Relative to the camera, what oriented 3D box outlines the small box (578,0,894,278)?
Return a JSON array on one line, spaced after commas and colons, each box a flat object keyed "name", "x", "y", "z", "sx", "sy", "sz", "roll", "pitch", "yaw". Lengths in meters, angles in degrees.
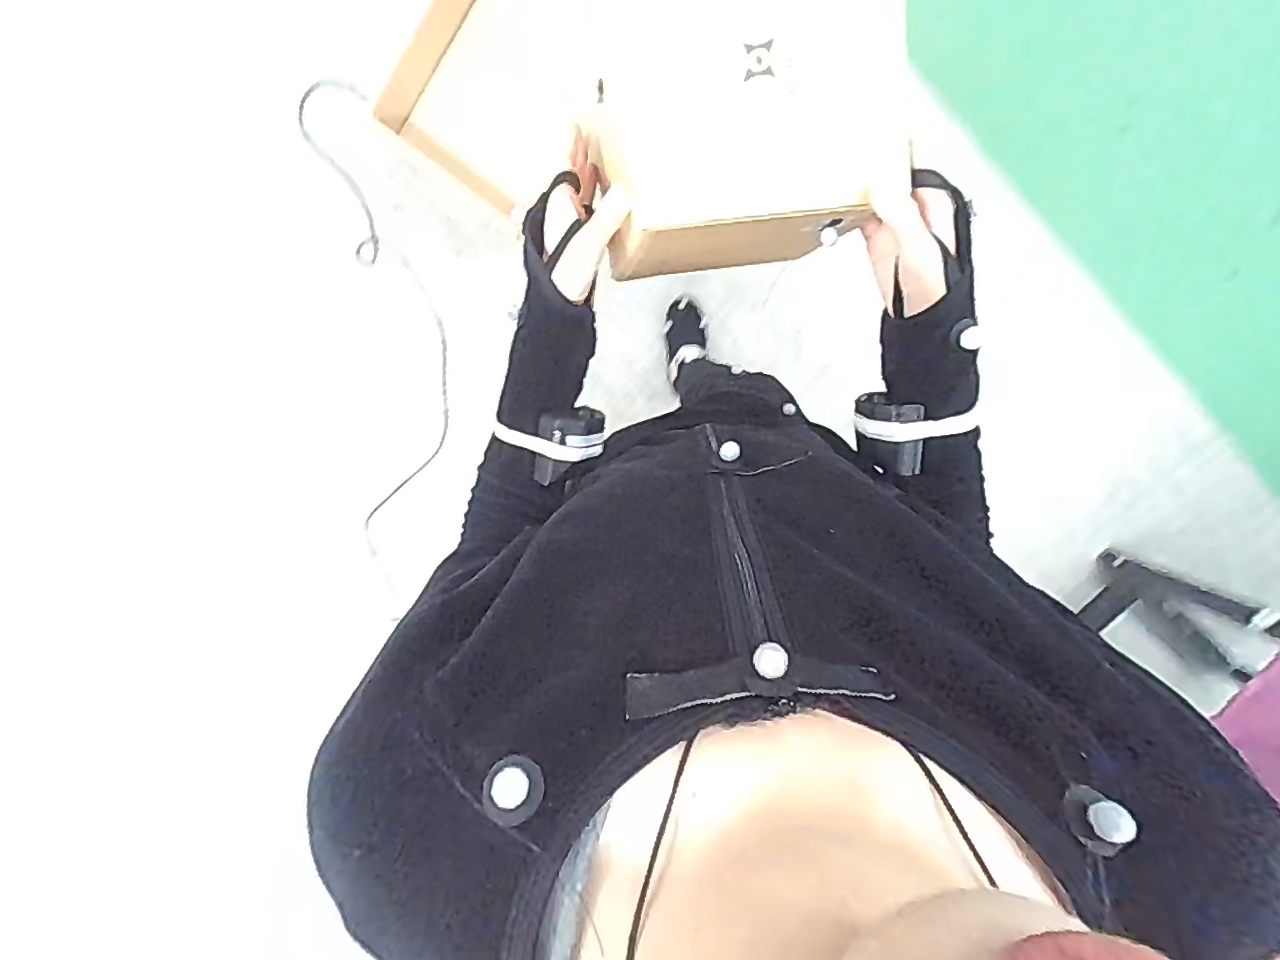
[{"name": "small box", "x": 0.052, "y": -0.253, "z": 0.391, "sx": 0.179, "sy": 0.176, "sz": 0.168, "roll": -10, "pitch": 102, "yaw": -7}]
